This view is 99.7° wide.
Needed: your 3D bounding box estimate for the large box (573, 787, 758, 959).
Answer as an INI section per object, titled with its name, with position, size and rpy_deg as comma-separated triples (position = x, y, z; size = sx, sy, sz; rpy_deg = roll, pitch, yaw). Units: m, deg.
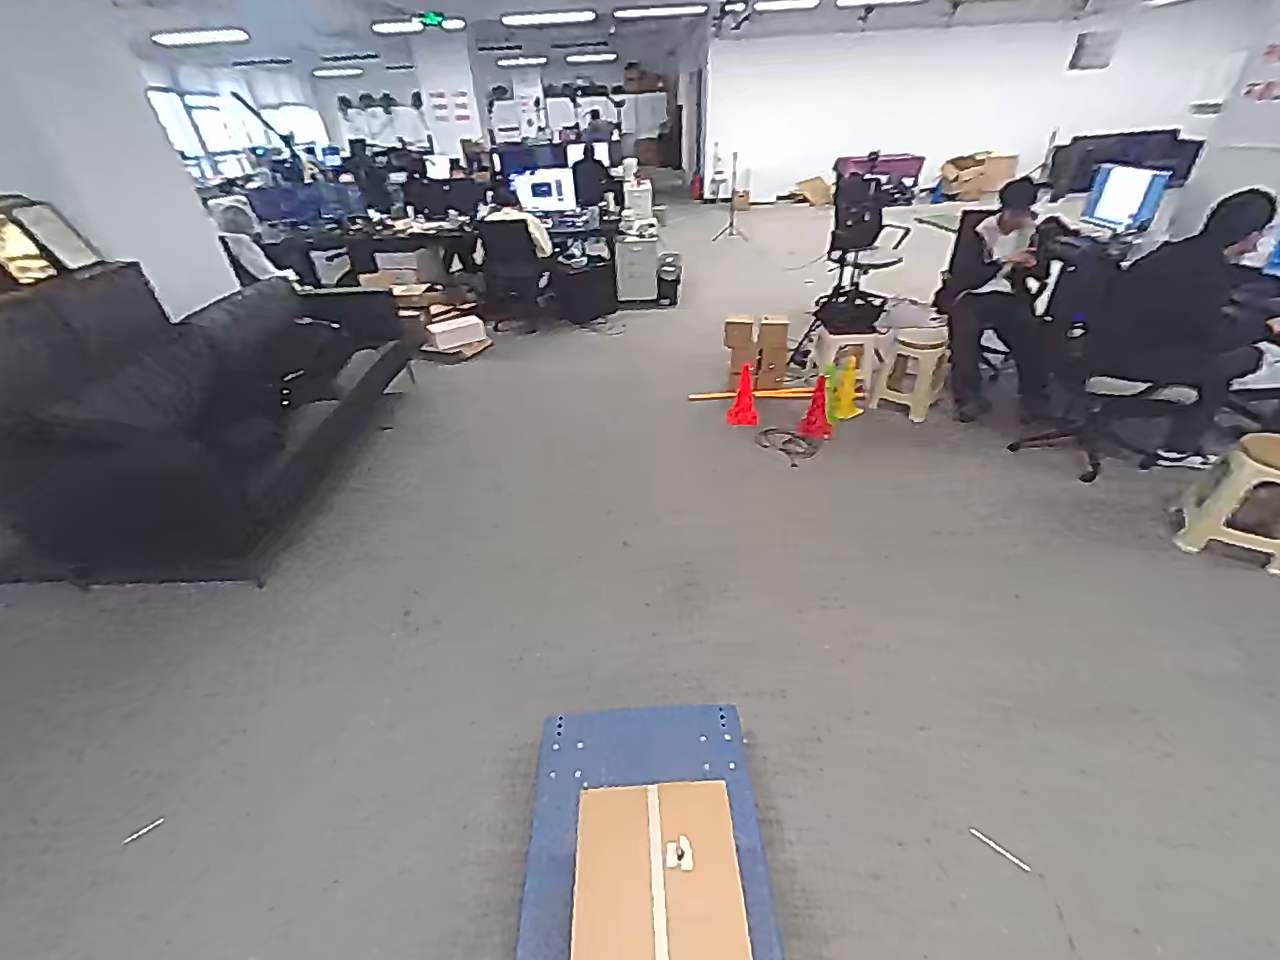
[large box]
position = 0.048, 0.890, 1.054
size = 0.320, 0.320, 0.408
rpy_deg = -3, 33, 0
